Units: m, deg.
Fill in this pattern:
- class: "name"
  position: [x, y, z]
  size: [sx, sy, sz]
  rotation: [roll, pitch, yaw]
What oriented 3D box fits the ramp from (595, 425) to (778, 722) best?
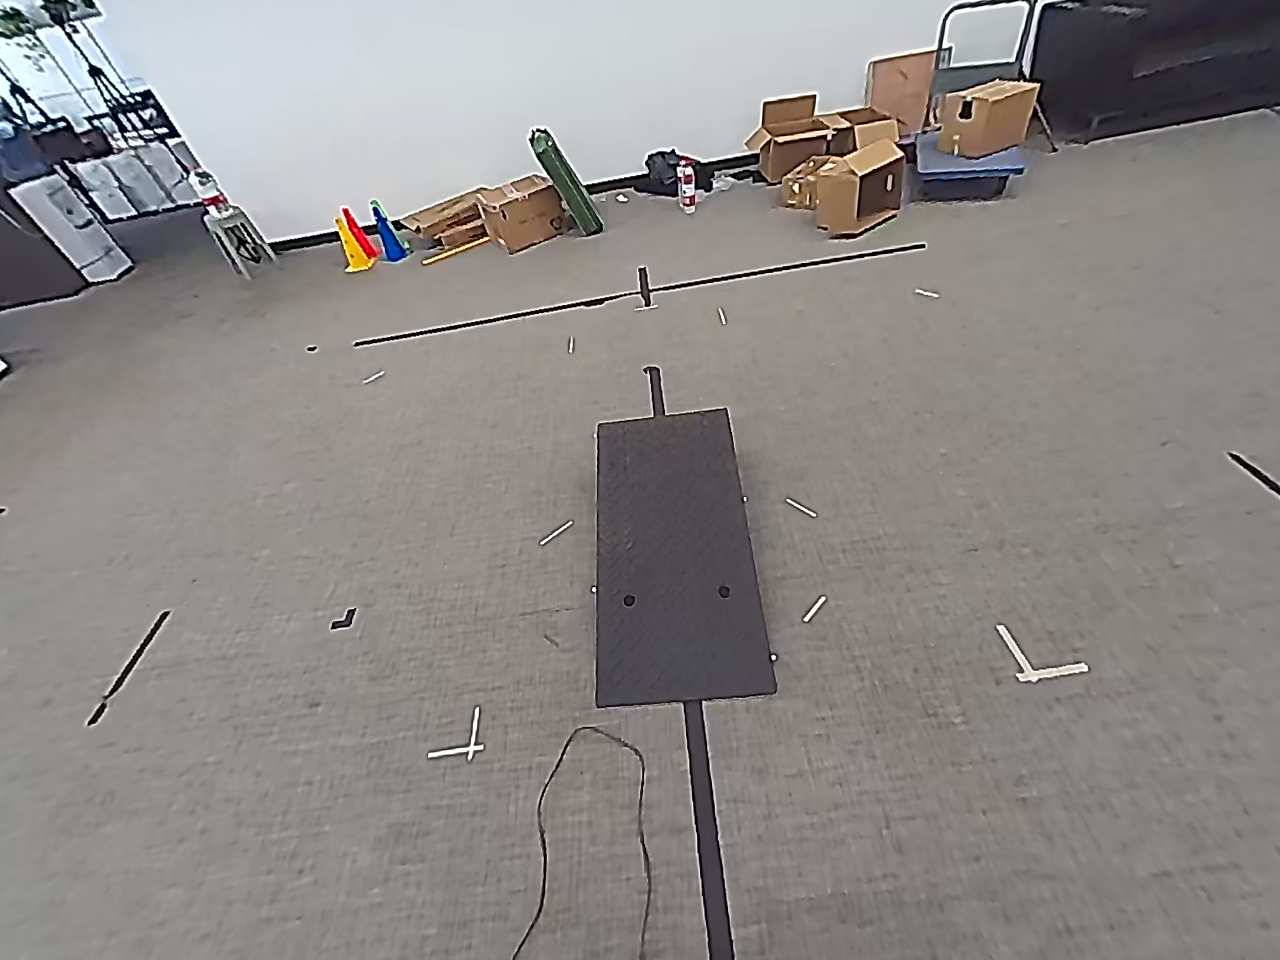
- class: "ramp"
  position: [0.103, 0.229, 1.750]
  size: [0.509, 0.206, 0.991]
  rotation: [-8, 44, 3]
